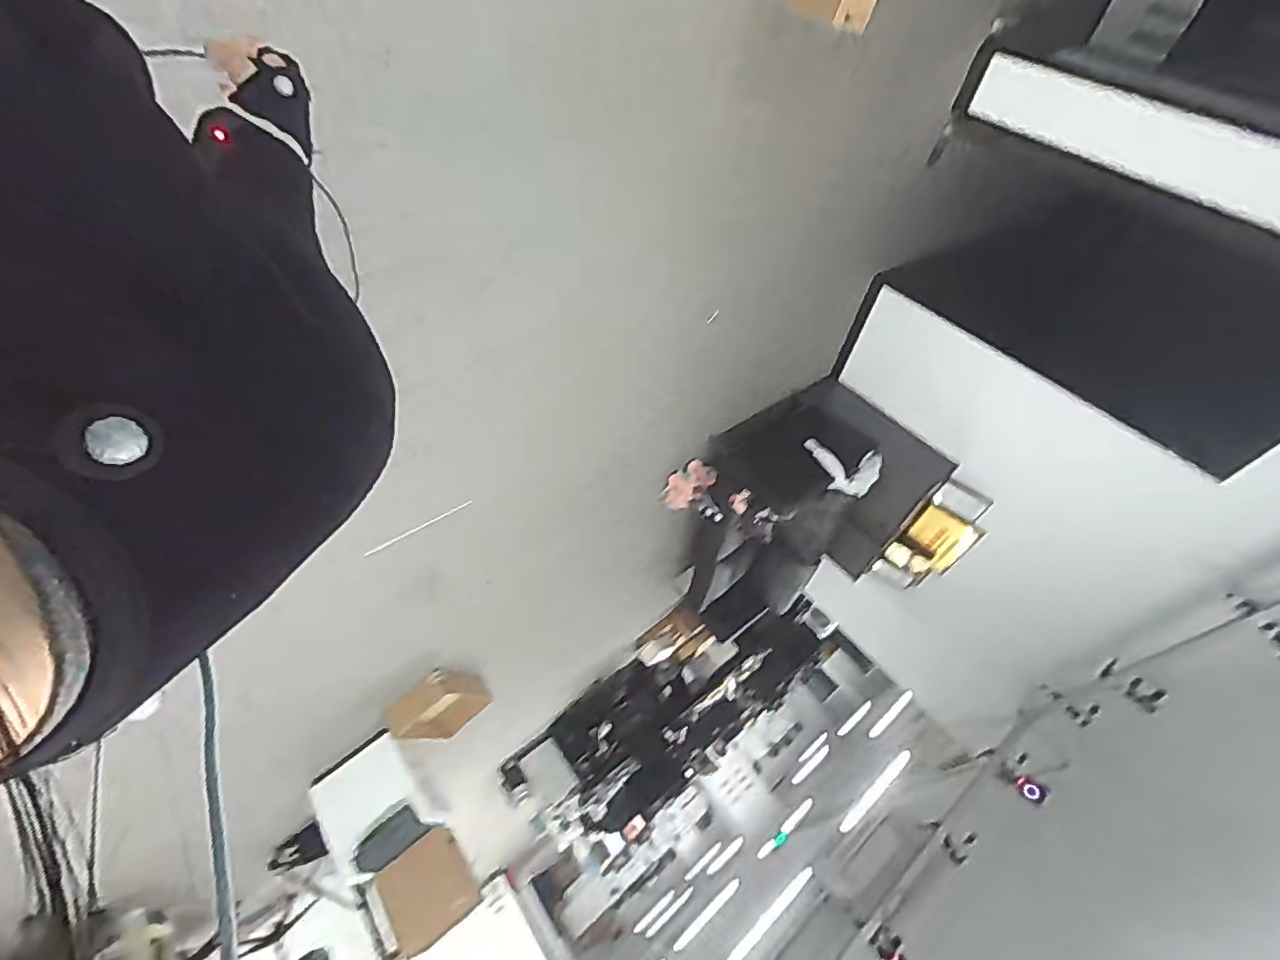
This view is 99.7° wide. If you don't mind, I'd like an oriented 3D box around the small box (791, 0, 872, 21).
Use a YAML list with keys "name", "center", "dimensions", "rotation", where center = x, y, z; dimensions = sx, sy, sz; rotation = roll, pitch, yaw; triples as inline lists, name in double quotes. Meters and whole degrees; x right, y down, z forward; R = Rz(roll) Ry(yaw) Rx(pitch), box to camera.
- name: "small box"
  center: [0.542, -1.393, 1.477]
  dimensions: [0.168, 0.176, 0.179]
  rotation: [-24, 146, -33]
